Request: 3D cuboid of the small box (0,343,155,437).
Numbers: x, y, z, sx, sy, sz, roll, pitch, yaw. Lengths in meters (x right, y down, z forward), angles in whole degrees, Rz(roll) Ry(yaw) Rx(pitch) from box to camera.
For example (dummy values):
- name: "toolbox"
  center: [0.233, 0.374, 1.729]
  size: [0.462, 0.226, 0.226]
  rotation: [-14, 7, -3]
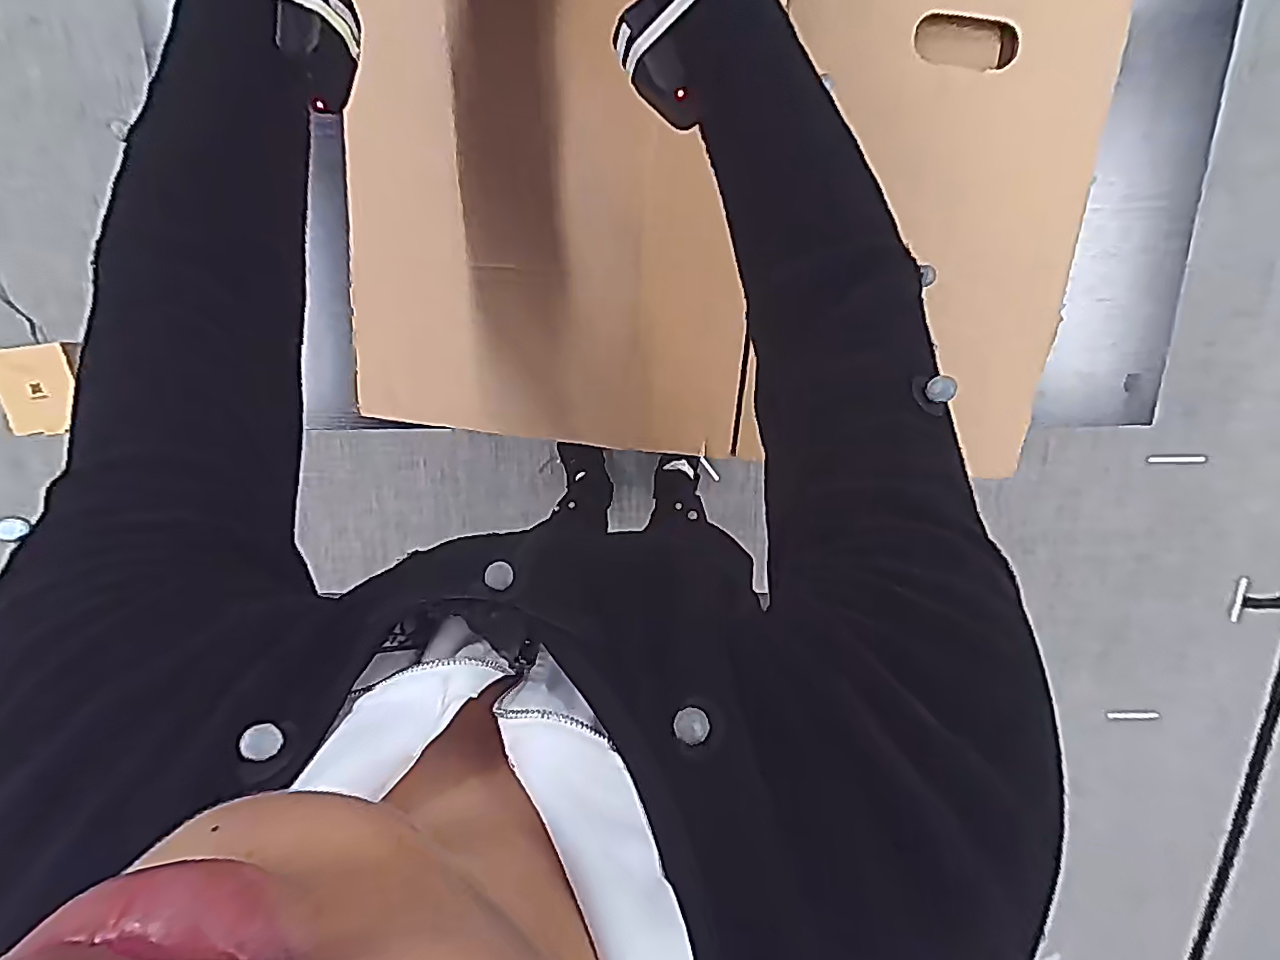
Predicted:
- name: "small box"
  center: [-1.218, -0.200, 1.173]
  size: [0.168, 0.176, 0.179]
  rotation: [-7, 103, 1]
